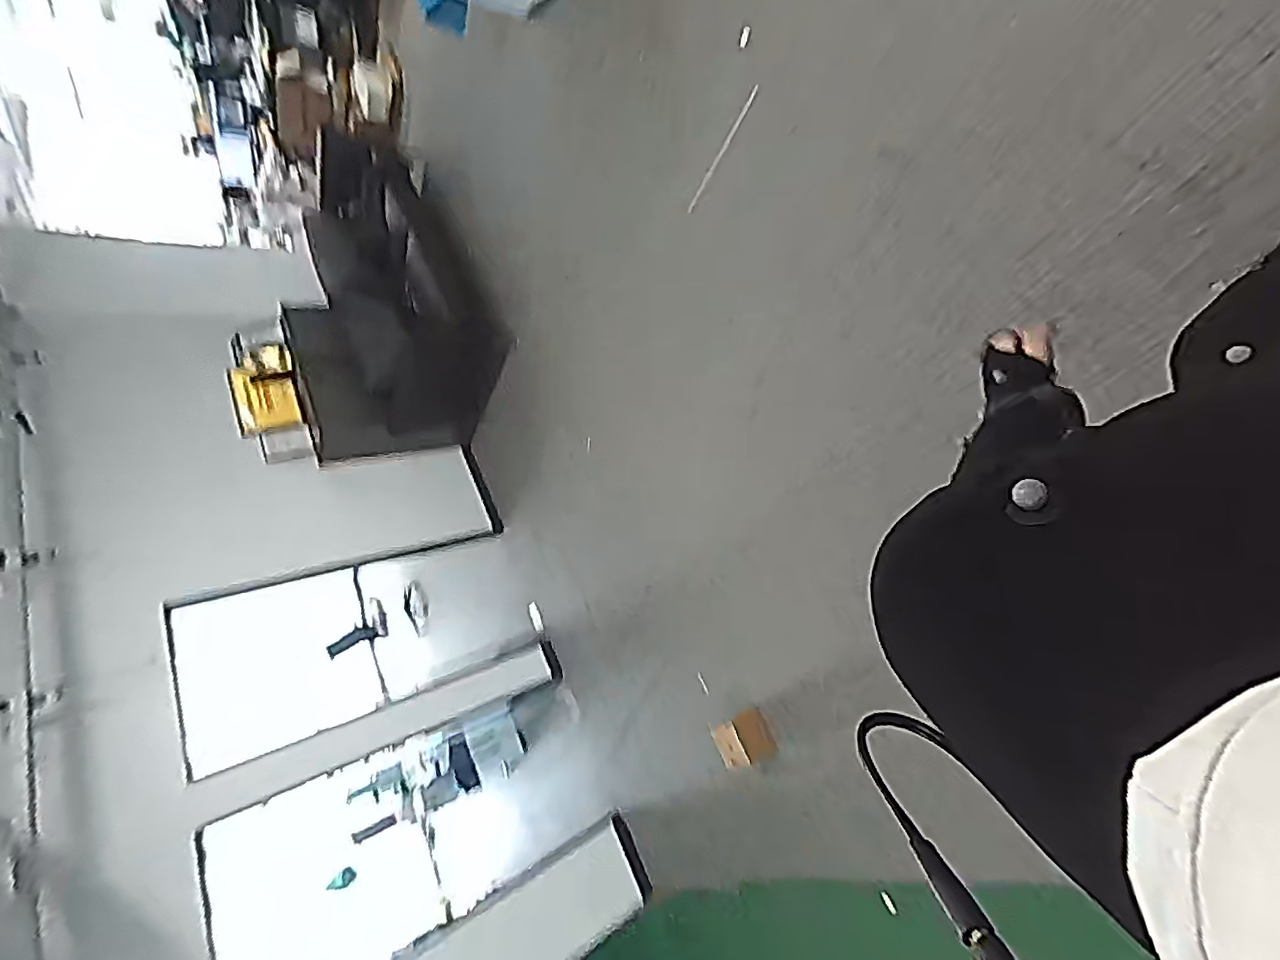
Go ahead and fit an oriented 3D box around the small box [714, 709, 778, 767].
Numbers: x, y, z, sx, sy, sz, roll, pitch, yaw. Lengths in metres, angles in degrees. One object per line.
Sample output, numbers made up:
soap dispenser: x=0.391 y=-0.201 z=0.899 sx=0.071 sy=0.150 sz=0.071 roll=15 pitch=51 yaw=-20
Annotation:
small box: x=0.458 y=1.104 z=2.326 sx=0.168 sy=0.176 sz=0.179 roll=-46 pitch=62 yaw=48
